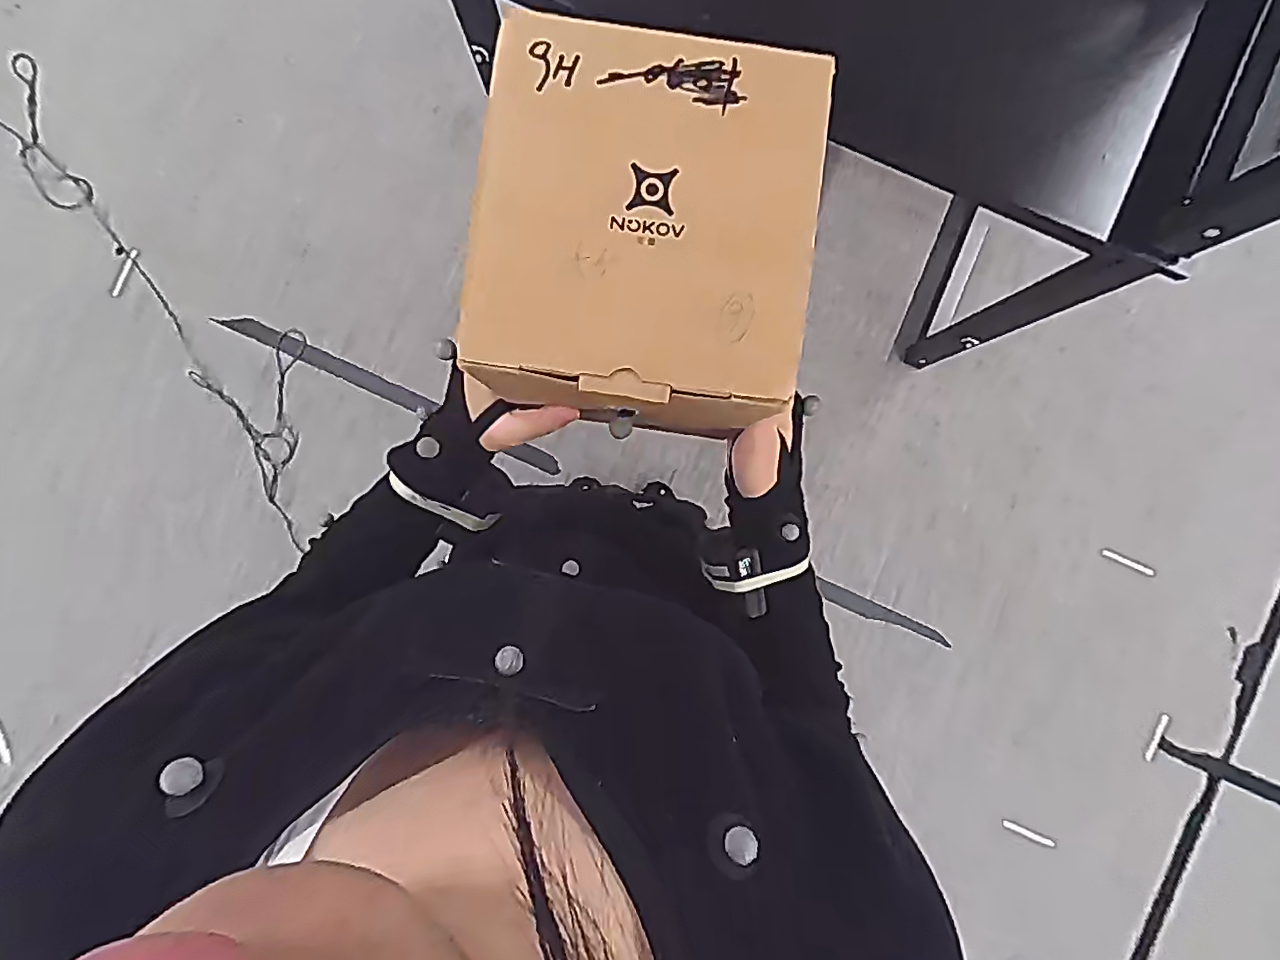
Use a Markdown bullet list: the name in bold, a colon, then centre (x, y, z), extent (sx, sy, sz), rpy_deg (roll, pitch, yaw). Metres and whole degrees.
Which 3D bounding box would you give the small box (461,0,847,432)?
- **small box**: centre (0.004, -0.129, 0.334), extent (0.168, 0.176, 0.179), rpy_deg (7, 89, -3)
